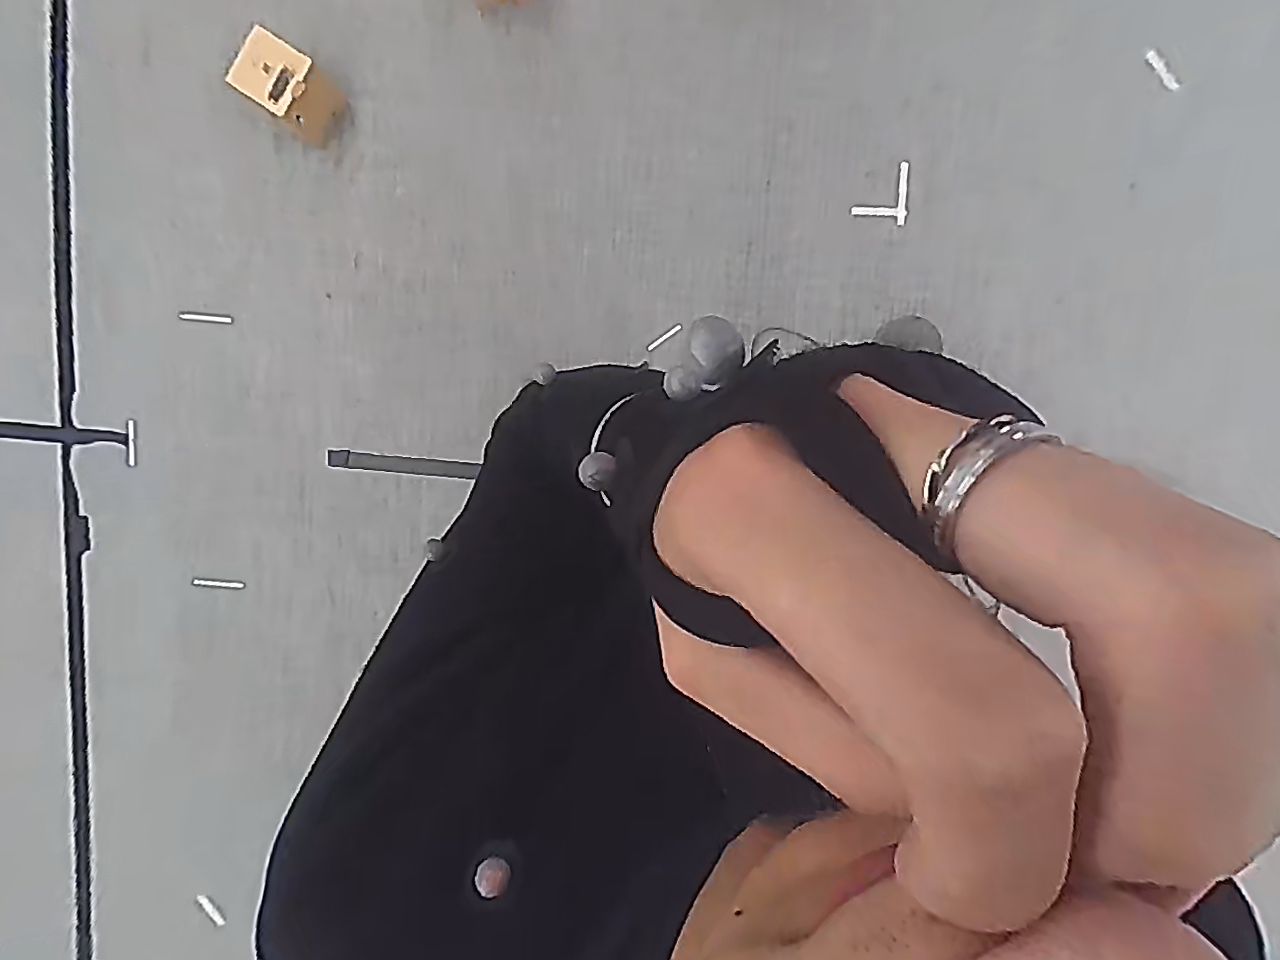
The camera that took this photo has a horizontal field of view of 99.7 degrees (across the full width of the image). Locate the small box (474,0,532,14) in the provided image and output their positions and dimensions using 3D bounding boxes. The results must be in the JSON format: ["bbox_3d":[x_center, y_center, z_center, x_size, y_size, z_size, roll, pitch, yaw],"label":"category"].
[{"bbox_3d":[-0.395,-1.405,1.437,0.168,0.176,0.179,-11,95,1],"label":"small box"}]
